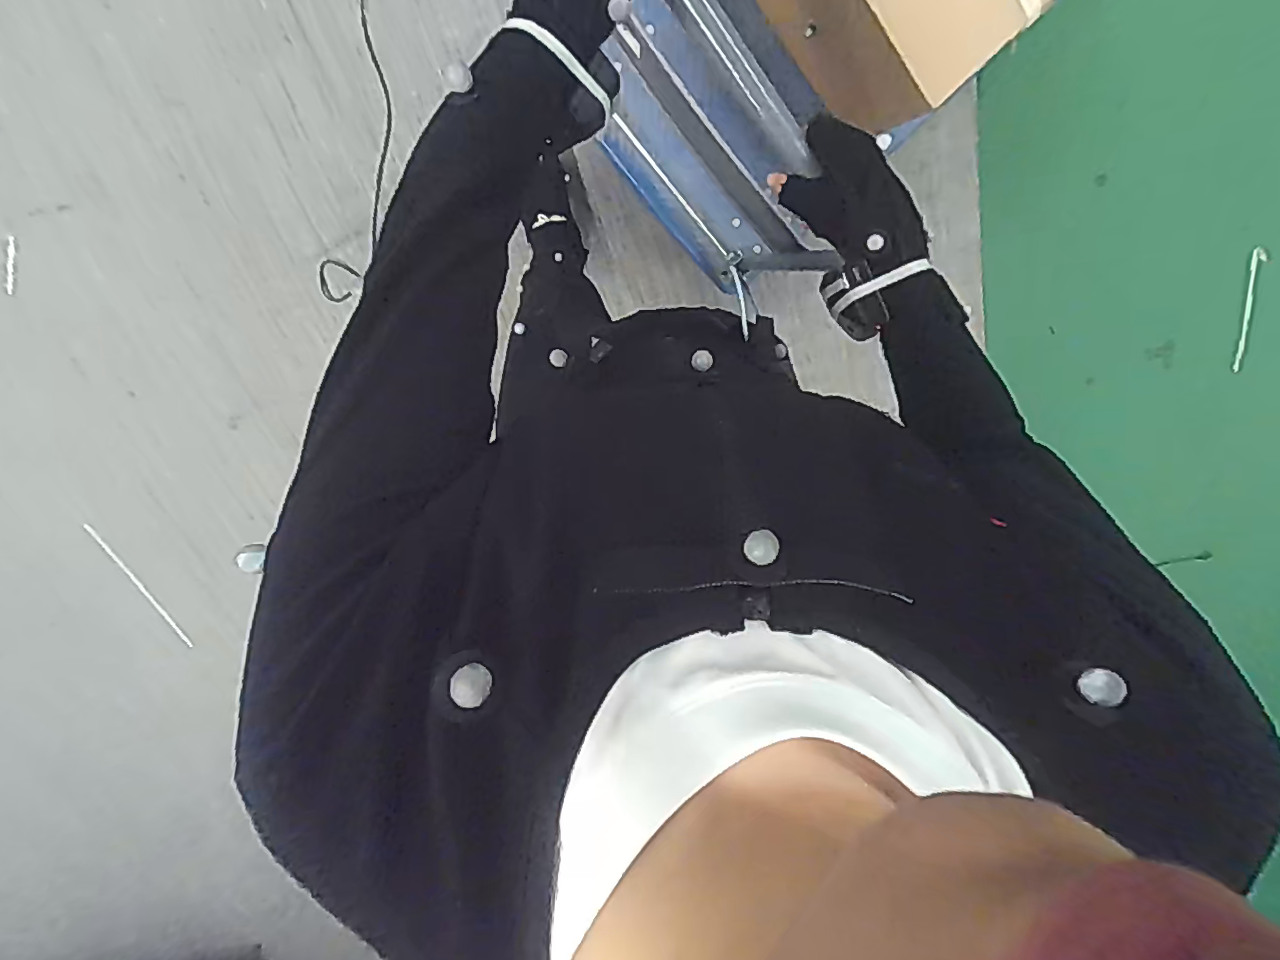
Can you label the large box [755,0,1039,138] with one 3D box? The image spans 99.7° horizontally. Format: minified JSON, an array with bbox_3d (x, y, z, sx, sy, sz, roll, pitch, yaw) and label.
[{"bbox_3d":[0.390,-0.829,0.826,0.320,0.320,0.408,-42,108,15],"label":"large box"}]
